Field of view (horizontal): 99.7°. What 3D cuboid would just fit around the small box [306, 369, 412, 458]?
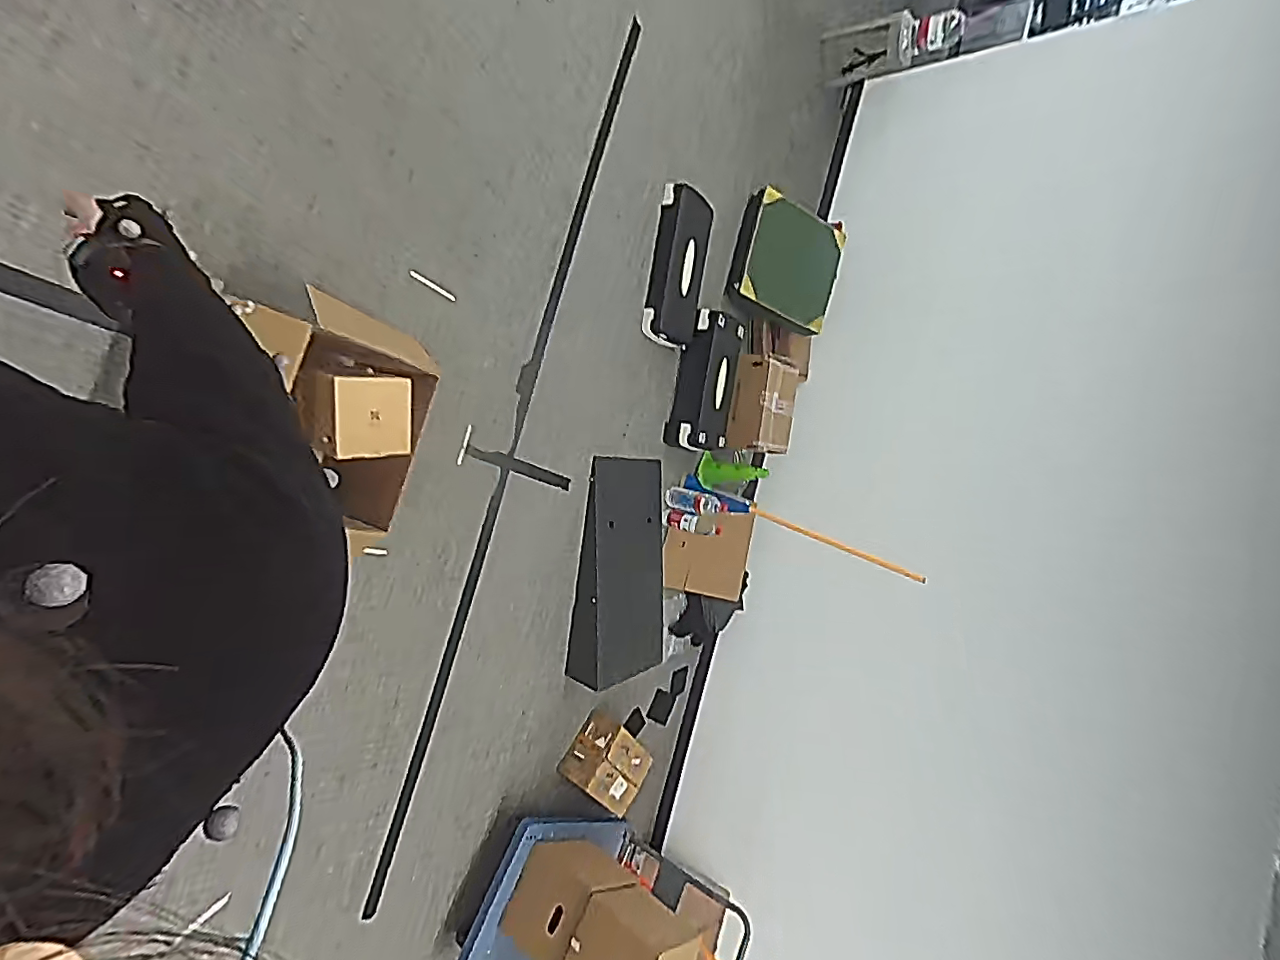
[{"bbox_3d":[-0.641,-0.158,1.233,0.168,0.176,0.179,-11,112,-49],"label":"small box"}]
